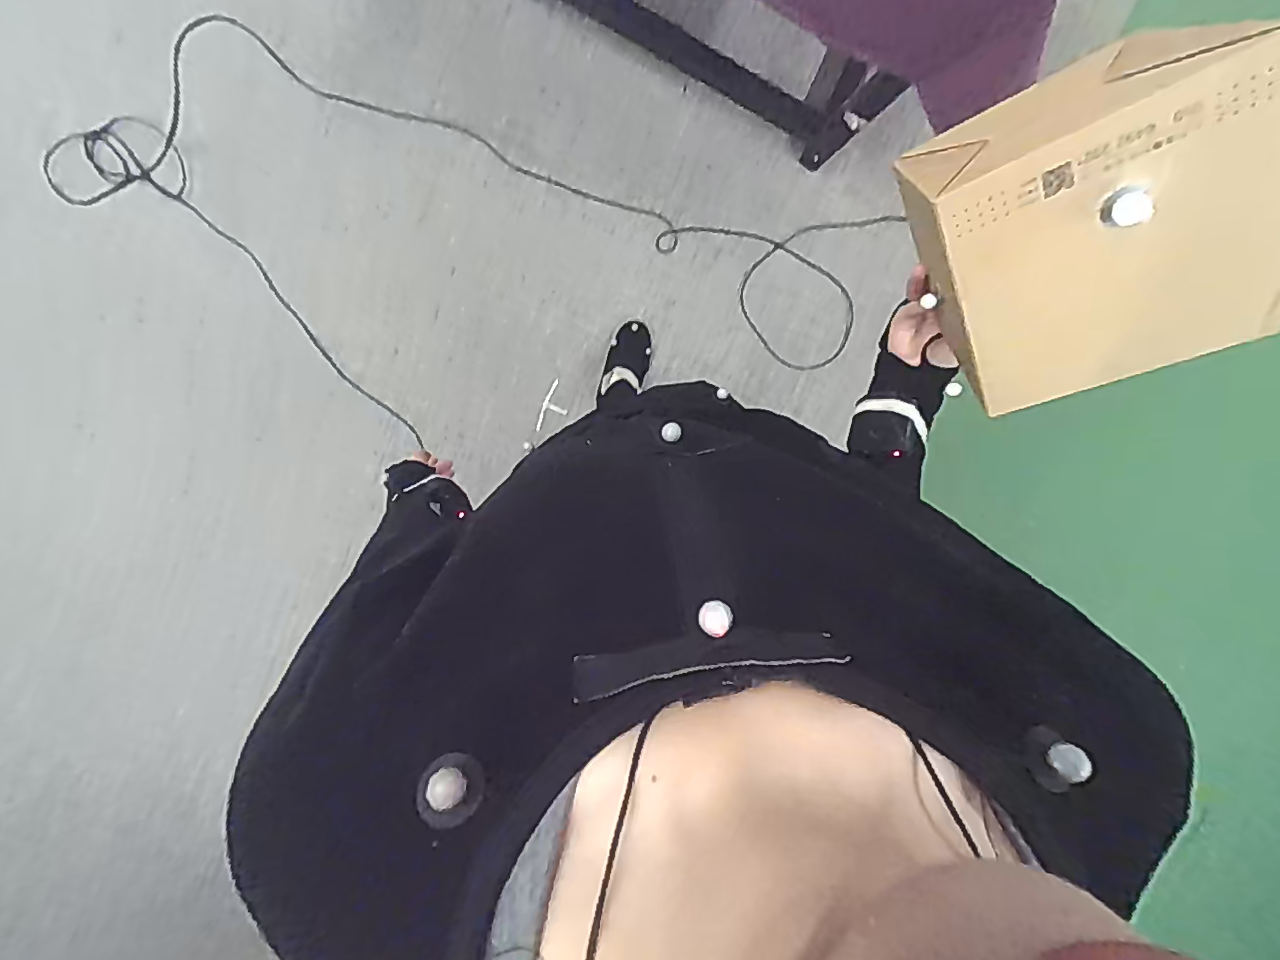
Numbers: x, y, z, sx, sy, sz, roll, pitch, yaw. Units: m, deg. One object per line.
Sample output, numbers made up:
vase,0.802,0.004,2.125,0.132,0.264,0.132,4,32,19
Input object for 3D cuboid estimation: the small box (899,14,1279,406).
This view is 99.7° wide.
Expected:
small box,0.302,-0.188,0.389,0.168,0.179,0.176,-19,118,27
